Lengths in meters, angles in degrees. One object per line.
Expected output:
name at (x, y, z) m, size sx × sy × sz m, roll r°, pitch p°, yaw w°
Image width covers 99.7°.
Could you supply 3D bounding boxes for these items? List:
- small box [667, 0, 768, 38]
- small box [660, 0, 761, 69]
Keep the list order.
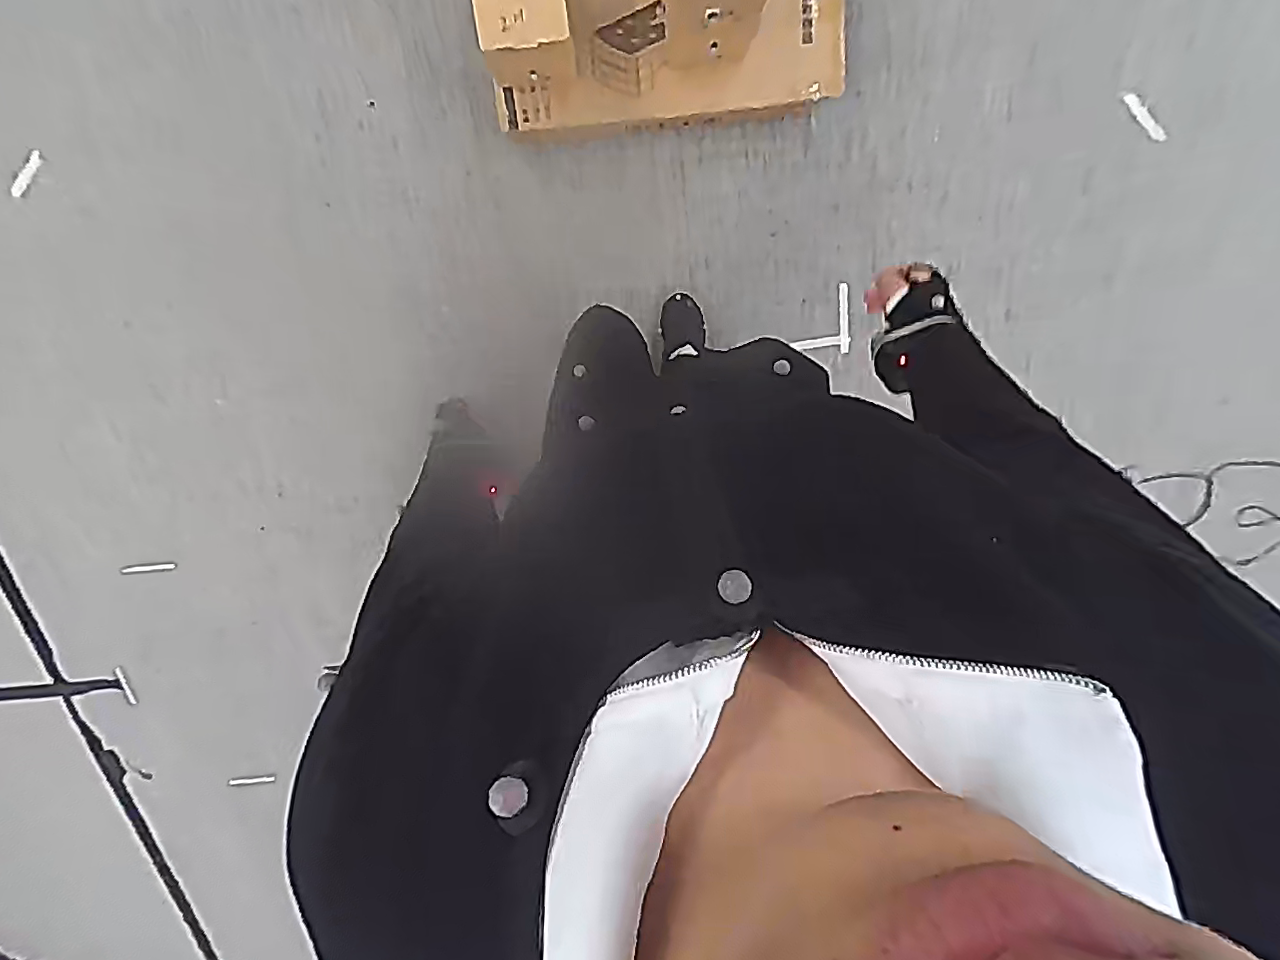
small box at (0.123, -0.869, 0.873) m, size 0.168 × 0.176 × 0.179 m, roll -10°, pitch 108°, yaw 3°
small box at (0.128, -0.919, 1.030) m, size 0.168 × 0.176 × 0.179 m, roll -8°, pitch 108°, yaw 1°
